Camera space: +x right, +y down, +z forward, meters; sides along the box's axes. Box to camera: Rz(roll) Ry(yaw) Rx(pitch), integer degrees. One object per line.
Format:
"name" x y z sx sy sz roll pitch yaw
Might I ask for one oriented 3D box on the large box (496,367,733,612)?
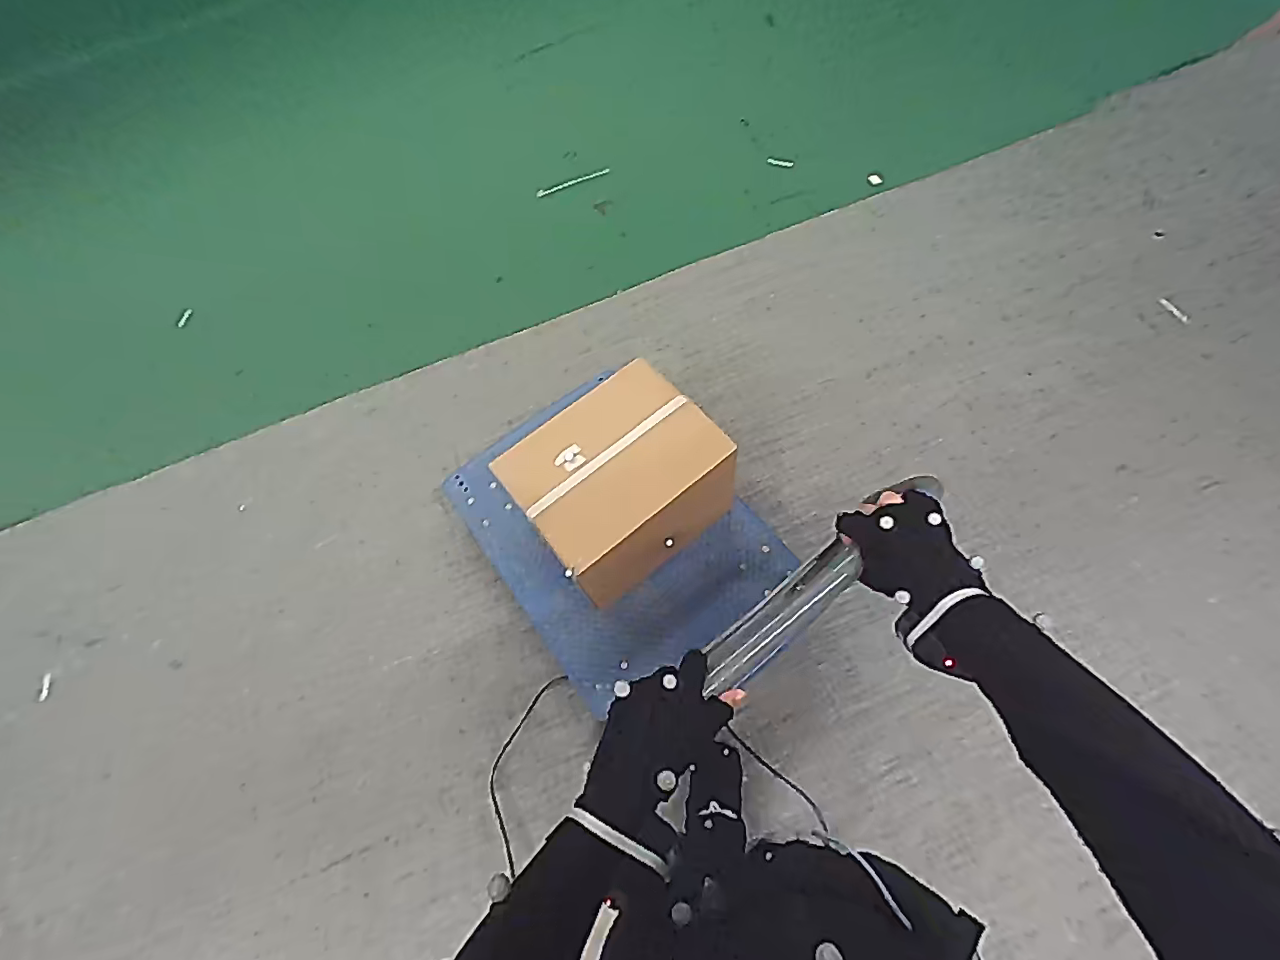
"large box" -0.039 0.031 1.233 0.408 0.320 0.320 -39 65 -11
